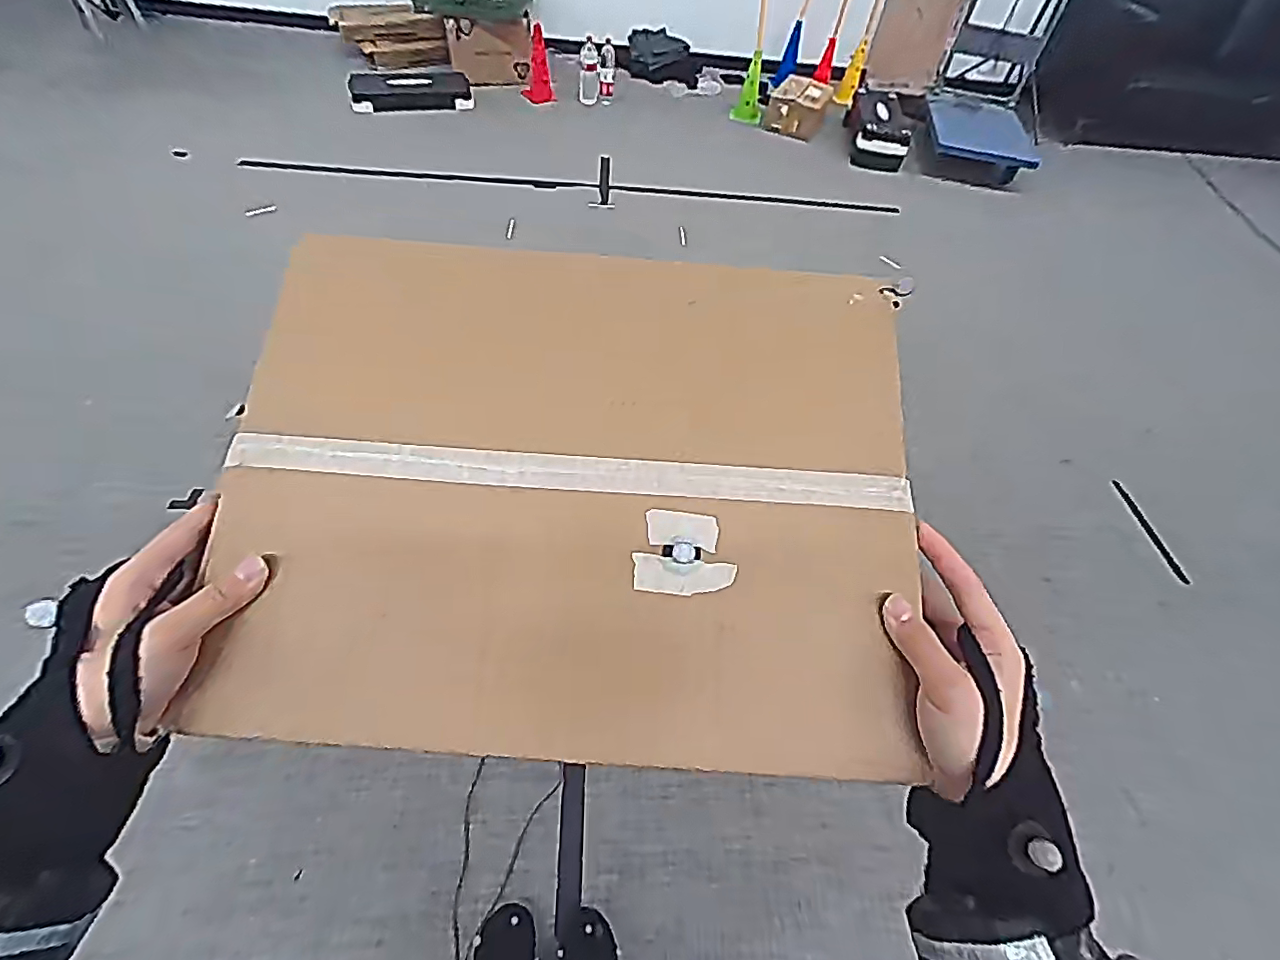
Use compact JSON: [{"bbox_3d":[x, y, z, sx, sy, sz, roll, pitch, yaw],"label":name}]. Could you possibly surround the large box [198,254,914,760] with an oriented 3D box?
[{"bbox_3d":[-0.042,0.041,0.482,0.408,0.320,0.320,4,74,-1],"label":"large box"}]
